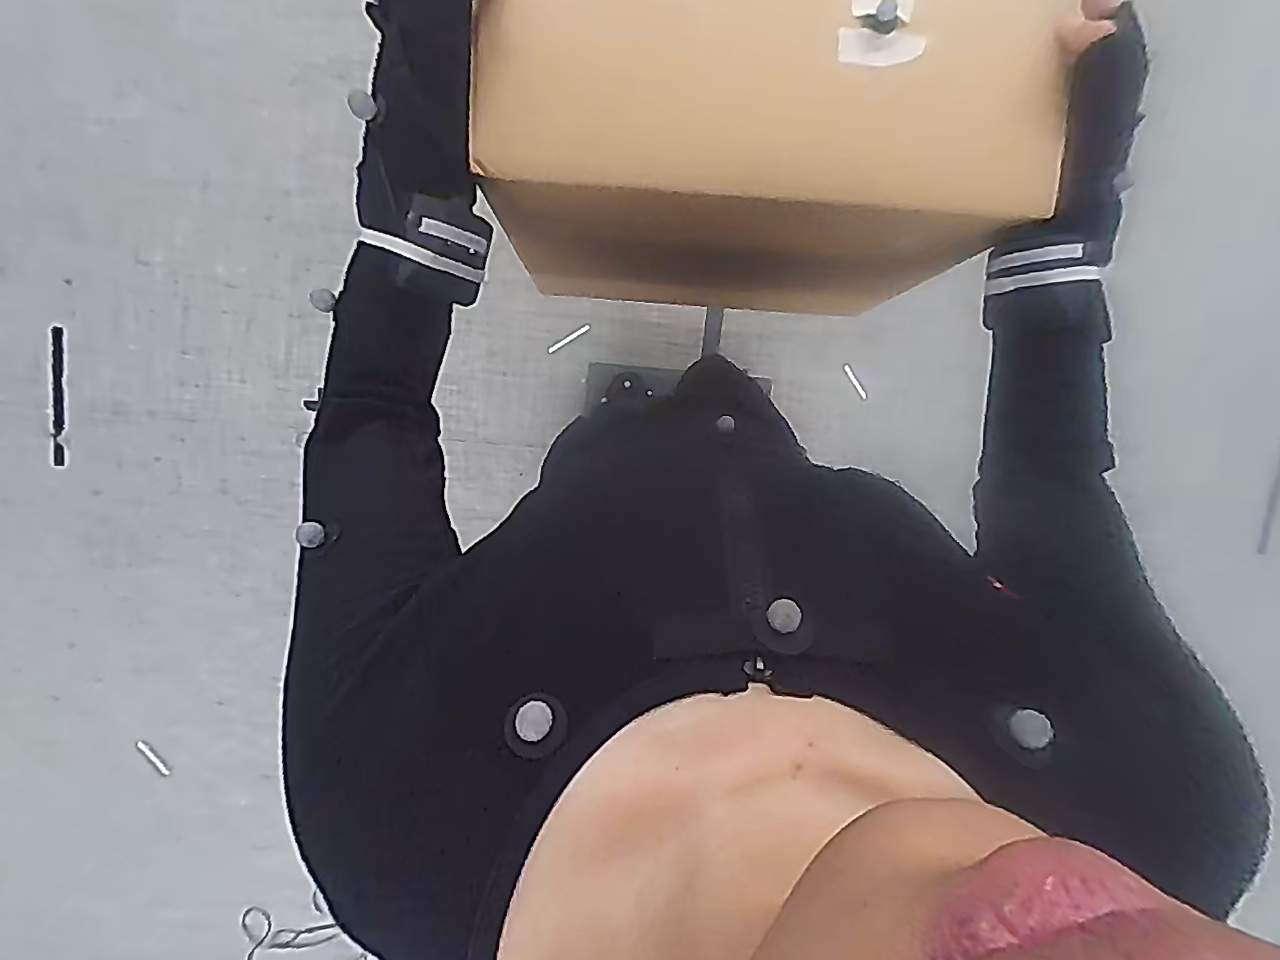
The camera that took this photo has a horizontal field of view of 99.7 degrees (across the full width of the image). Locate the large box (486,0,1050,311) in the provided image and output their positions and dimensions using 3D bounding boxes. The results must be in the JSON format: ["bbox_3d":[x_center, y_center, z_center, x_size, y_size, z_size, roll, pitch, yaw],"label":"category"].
[{"bbox_3d":[0.087,-0.364,0.526,0.408,0.320,0.320,3,94,-3],"label":"large box"}]
